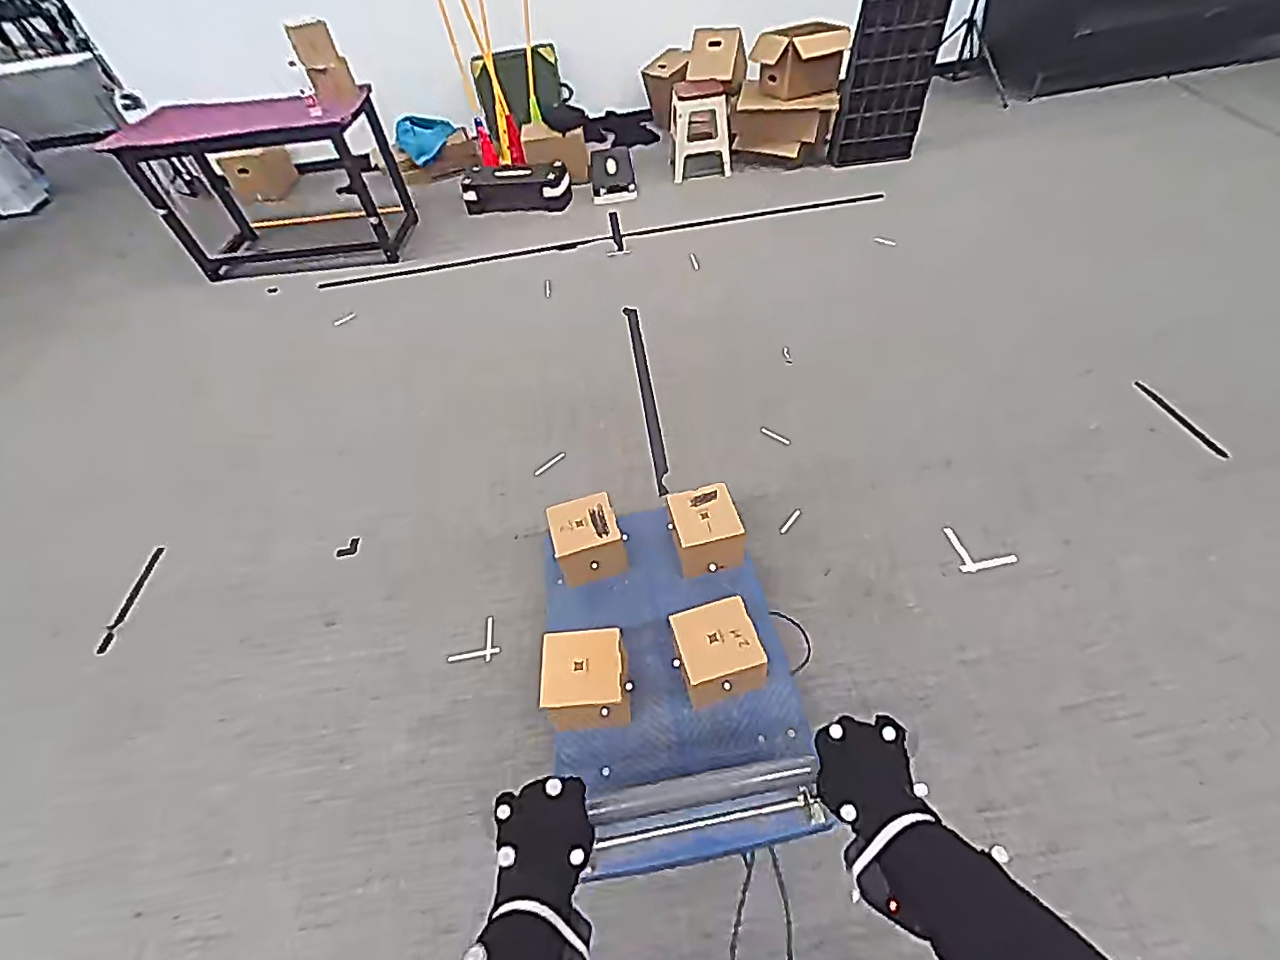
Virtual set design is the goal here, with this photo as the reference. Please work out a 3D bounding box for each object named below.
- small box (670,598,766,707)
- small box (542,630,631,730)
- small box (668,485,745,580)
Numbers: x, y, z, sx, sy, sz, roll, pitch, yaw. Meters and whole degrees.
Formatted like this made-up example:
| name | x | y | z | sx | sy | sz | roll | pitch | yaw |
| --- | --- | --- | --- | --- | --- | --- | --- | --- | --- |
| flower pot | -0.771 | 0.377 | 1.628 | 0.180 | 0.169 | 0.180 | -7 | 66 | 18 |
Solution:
| name | x | y | z | sx | sy | sz | roll | pitch | yaw |
| --- | --- | --- | --- | --- | --- | --- | --- | --- | --- |
| small box | 0.180 | 0.406 | 1.261 | 0.179 | 0.176 | 0.168 | -15 | 50 | -5 |
| small box | -0.118 | 0.465 | 1.251 | 0.179 | 0.176 | 0.168 | -5 | 49 | 1 |
| small box | 0.177 | 0.146 | 1.480 | 0.168 | 0.176 | 0.179 | -13 | 51 | -4 |
